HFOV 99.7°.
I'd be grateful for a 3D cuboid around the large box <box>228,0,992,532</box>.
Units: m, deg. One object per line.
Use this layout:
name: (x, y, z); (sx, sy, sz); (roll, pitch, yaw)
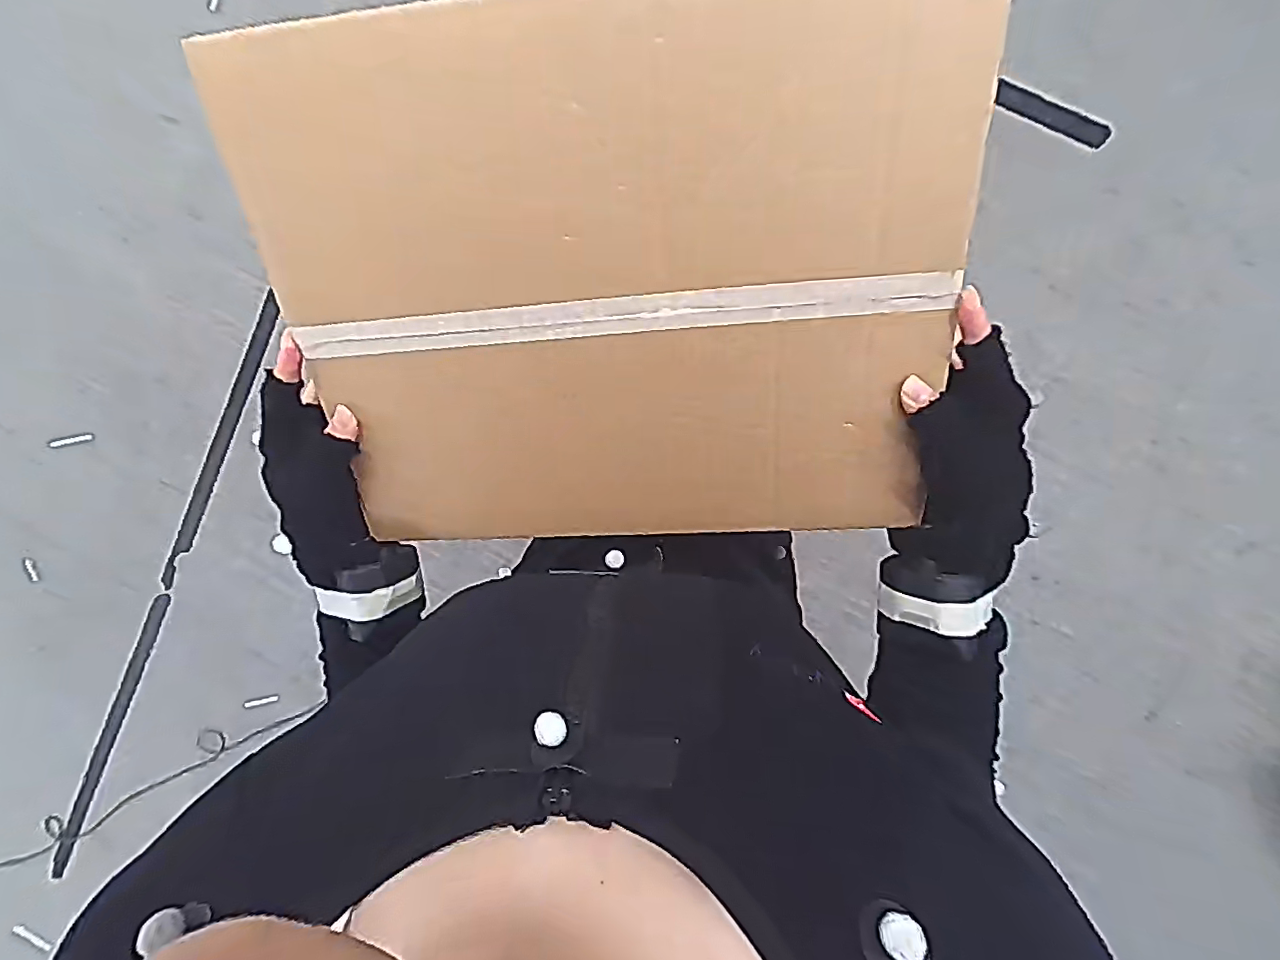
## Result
large box: (-0.006, -0.171, 0.468); (0.408, 0.320, 0.320); (-2, 118, 7)
